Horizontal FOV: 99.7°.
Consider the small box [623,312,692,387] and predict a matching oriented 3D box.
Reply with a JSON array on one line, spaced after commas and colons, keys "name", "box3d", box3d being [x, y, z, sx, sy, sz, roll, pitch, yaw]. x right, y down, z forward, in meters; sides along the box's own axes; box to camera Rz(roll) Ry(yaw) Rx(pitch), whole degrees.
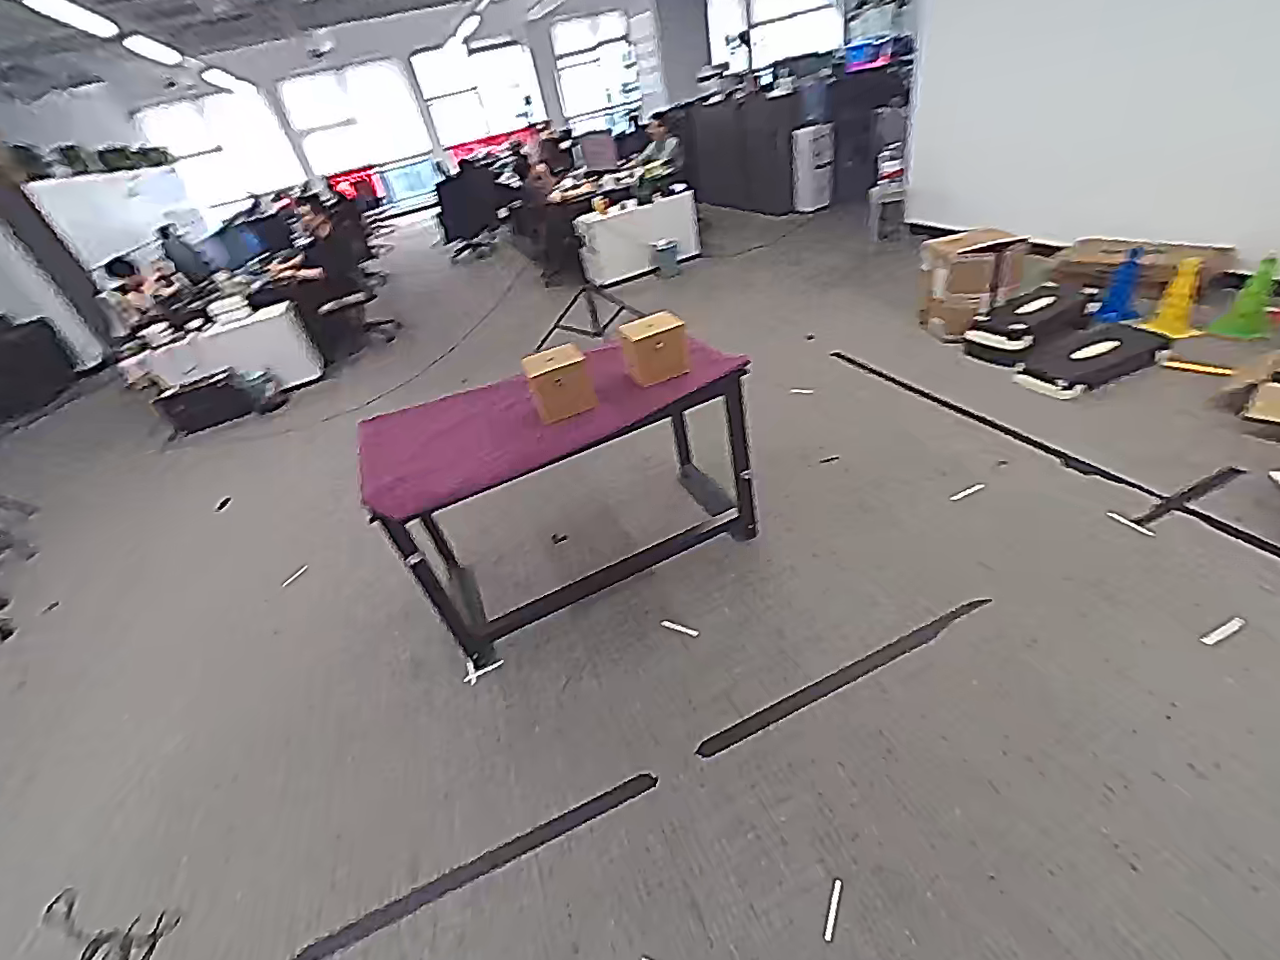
[{"name": "small box", "box3d": [0.062, -0.433, 1.792, 0.179, 0.176, 0.168, -22, 35, -9]}]

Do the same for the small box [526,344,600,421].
[{"name": "small box", "box3d": [-0.244, -0.310, 1.726, 0.179, 0.176, 0.168, -21, 37, -10]}]
